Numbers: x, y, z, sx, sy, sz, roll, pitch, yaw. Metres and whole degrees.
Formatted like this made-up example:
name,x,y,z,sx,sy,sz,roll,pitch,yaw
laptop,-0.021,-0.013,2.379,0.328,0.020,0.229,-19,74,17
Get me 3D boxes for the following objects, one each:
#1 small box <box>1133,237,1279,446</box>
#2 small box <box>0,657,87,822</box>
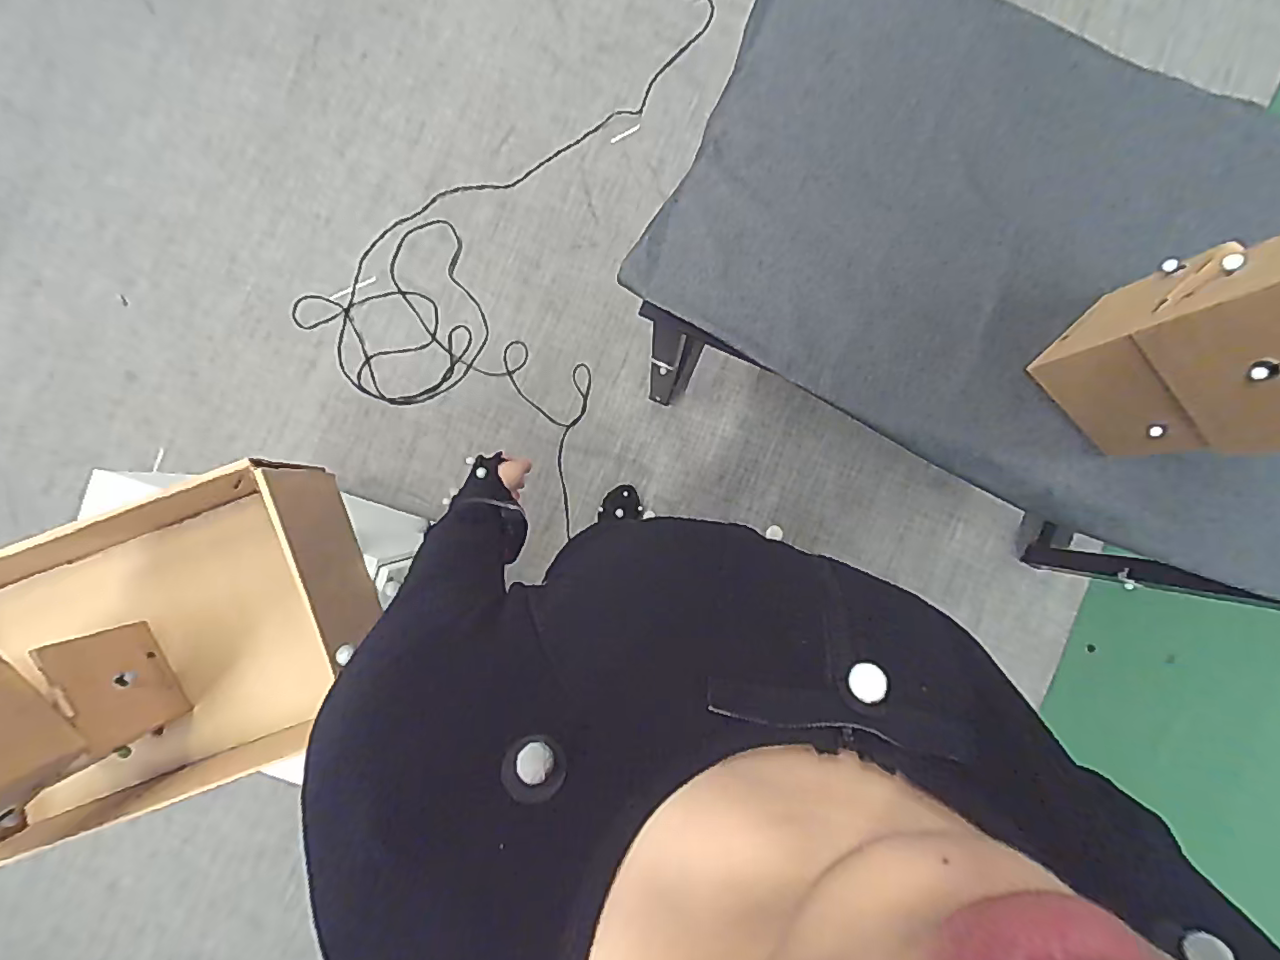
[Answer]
name,x,y,z,sx,sy,sz,roll,pitch,yaw
small box,0.660,-0.146,0.525,0.168,0.176,0.179,-35,88,-2
small box,-0.821,0.326,0.614,0.179,0.176,0.168,45,89,-1
